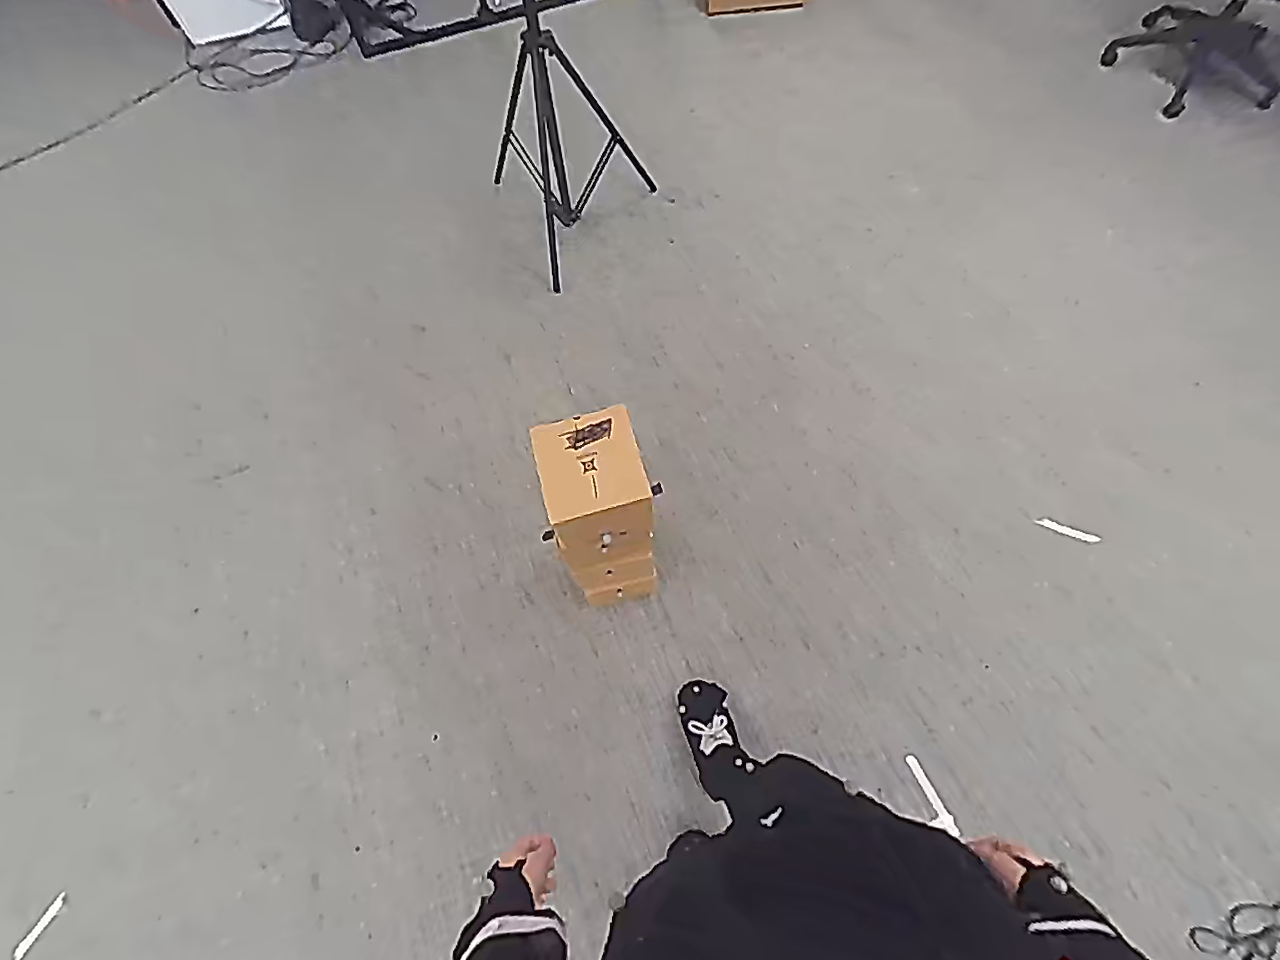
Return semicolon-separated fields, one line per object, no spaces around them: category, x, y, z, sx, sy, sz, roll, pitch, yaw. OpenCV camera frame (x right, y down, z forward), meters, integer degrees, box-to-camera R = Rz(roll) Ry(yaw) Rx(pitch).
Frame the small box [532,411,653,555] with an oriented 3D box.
small box;-0.077;0.011;0.938;0.168;0.176;0.179;-15;68;-3

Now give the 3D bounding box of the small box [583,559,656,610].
small box;-0.064;0.221;1.381;0.179;0.176;0.168;-15;67;-4

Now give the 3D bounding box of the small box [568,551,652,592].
small box;-0.074;0.148;1.234;0.179;0.176;0.168;-12;67;-3

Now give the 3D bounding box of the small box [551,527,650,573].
small box;-0.084;0.077;1.089;0.179;0.176;0.168;-15;68;-4
